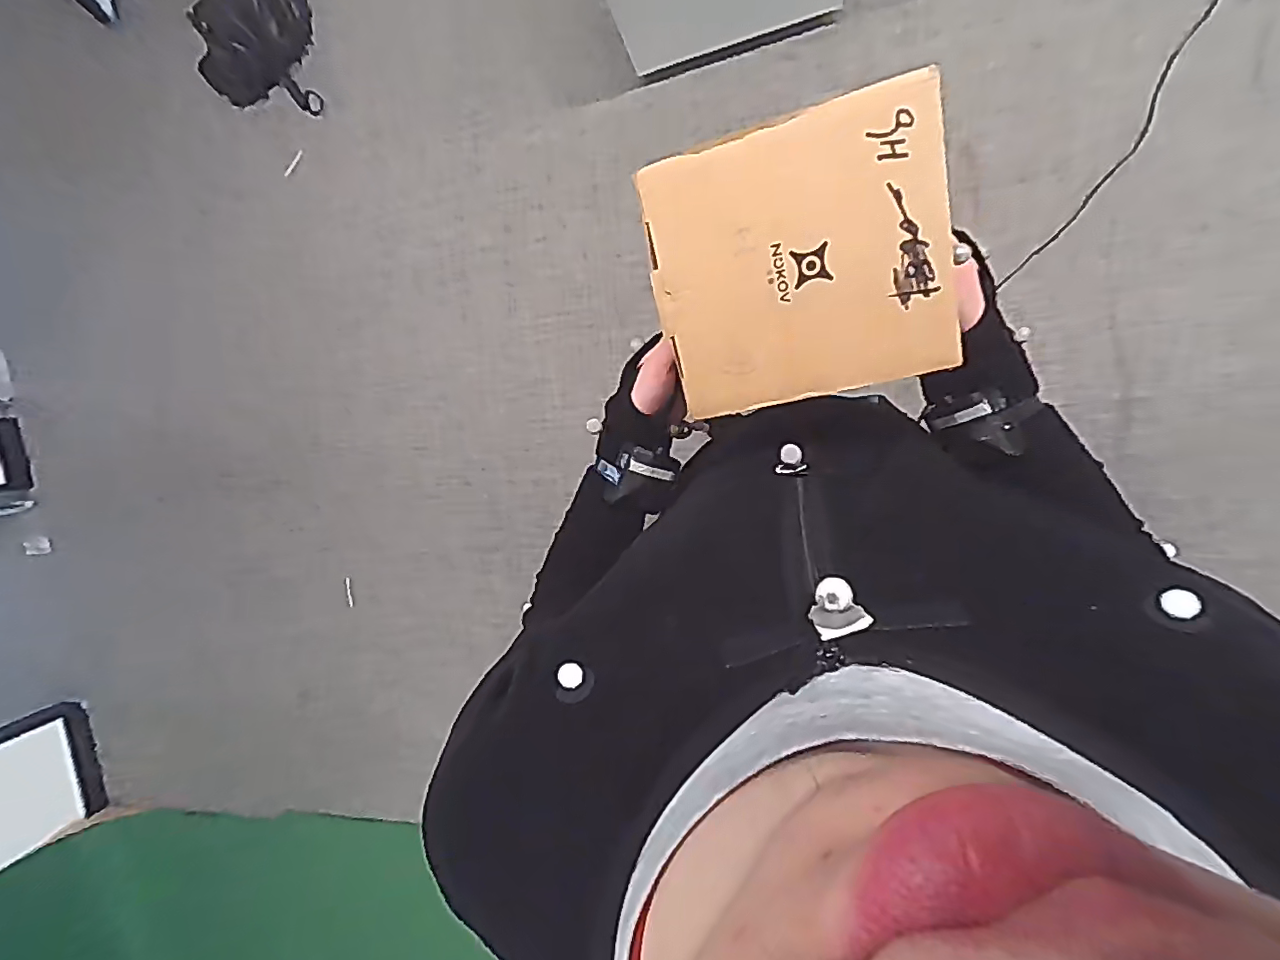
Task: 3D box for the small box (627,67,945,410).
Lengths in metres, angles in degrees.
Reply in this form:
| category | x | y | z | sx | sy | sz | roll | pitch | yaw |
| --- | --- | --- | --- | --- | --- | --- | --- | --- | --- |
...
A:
| category | x | y | z | sx | sy | sz | roll | pitch | yaw |
| --- | --- | --- | --- | --- | --- | --- | --- | --- | --- |
| small box | 0.110 | -0.162 | 0.412 | 0.179 | 0.176 | 0.168 | -9 | 108 | 18 |
